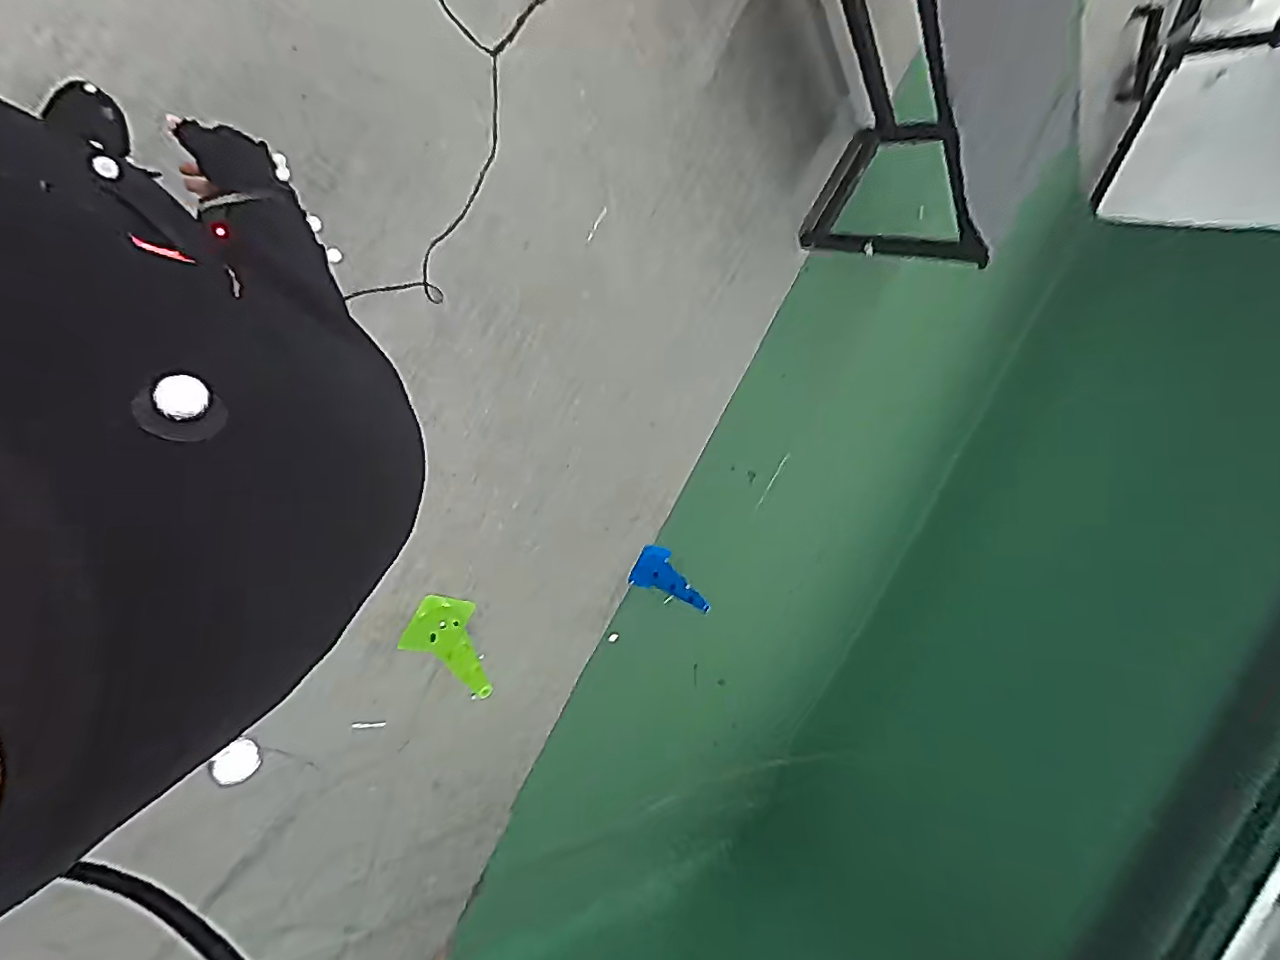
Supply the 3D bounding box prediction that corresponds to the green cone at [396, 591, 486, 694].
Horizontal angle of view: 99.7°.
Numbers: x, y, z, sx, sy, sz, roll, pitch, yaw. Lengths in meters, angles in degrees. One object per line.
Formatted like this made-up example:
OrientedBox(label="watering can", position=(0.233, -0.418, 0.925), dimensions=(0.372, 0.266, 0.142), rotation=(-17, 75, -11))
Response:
OrientedBox(label="green cone", position=(-0.572, 0.531, 1.682), dimensions=(0.202, 0.368, 0.200), rotation=(26, 93, -48))
